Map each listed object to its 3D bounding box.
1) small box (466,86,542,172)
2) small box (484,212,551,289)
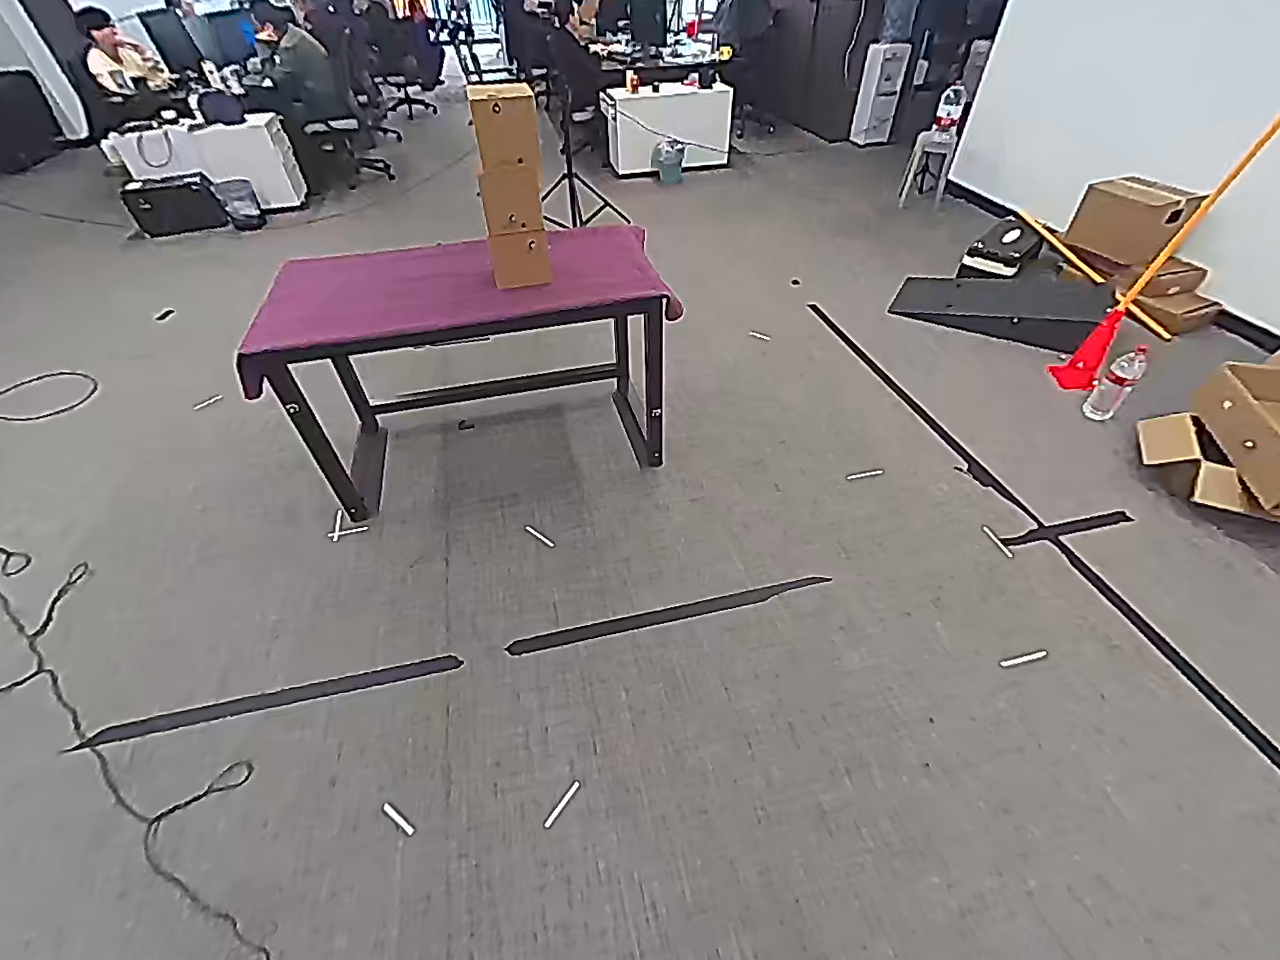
[{"bbox_3d":[-0.371,-0.959,1.477,0.168,0.176,0.179,-12,45,-10],"label":"small box"},{"bbox_3d":[-0.382,-0.722,1.704,0.179,0.176,0.168,-12,45,-9],"label":"small box"}]
